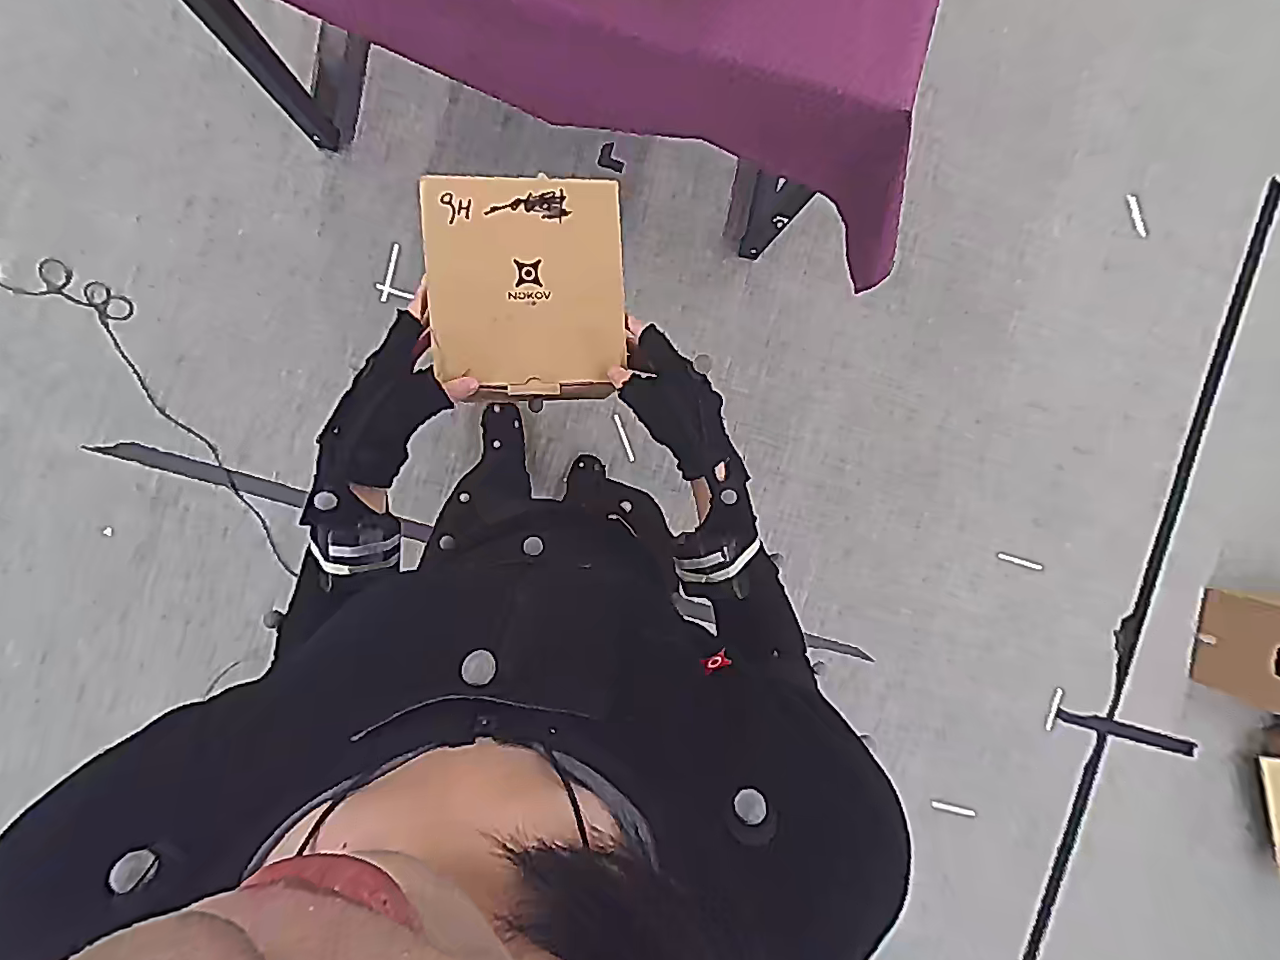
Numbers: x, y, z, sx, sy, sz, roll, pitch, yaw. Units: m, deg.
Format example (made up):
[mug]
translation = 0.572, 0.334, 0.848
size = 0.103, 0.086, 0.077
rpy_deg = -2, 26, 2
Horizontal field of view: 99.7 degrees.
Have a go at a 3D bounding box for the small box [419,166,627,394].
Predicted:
[small box]
translation = -0.106, -0.175, 0.528
size = 0.168, 0.176, 0.179
rpy_deg = -4, 95, -9
